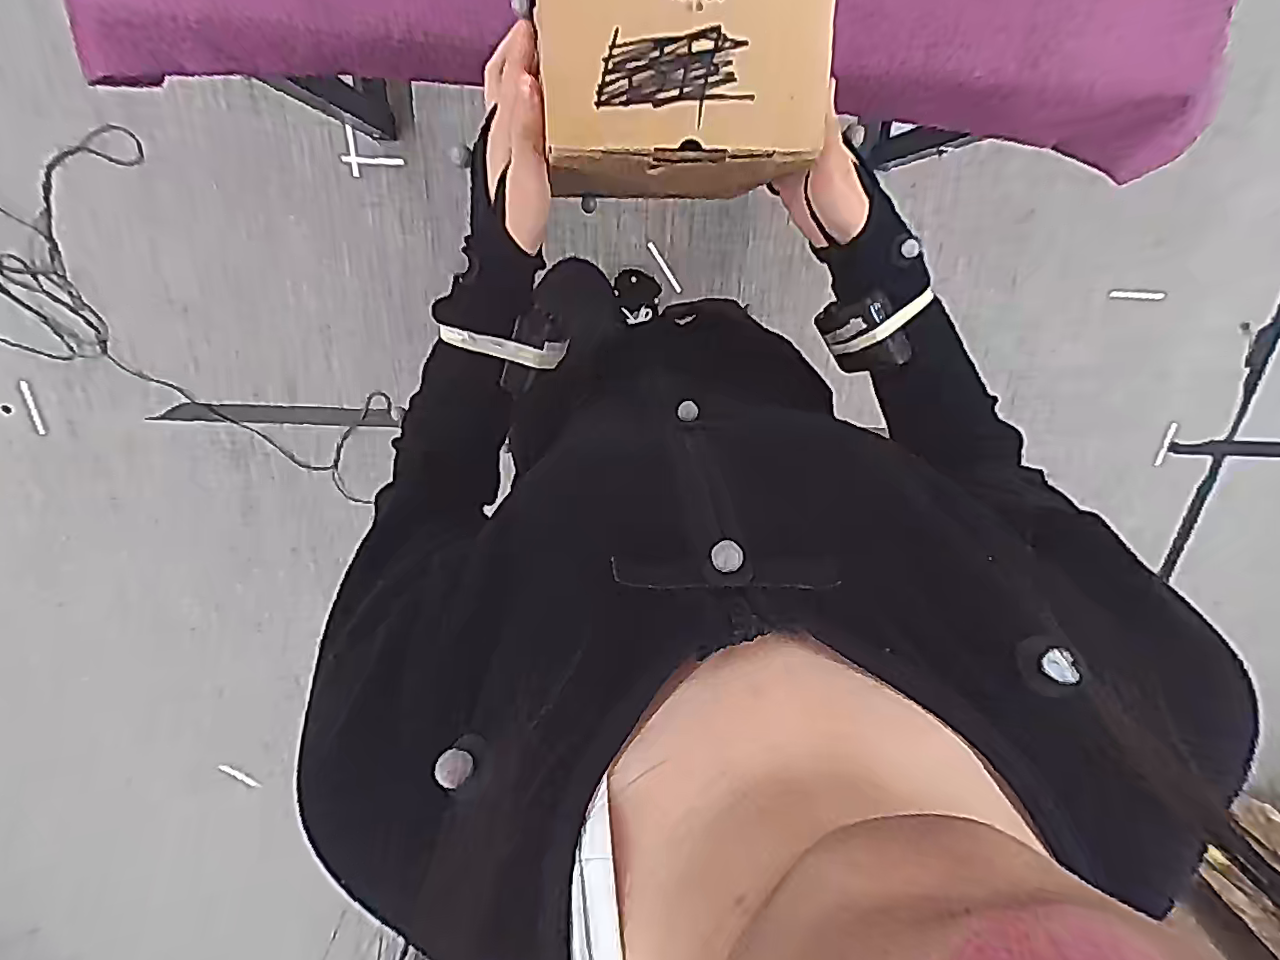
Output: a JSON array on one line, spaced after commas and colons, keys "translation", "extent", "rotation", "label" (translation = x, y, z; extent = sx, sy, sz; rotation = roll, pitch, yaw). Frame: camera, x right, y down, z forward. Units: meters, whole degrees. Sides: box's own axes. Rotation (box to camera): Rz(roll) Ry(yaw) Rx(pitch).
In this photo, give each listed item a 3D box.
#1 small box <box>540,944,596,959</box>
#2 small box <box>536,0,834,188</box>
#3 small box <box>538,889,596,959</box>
[{"translation": [-0.212, 1.490, 1.564], "extent": [0.168, 0.176, 0.179], "rotation": [0, 111, -4], "label": "small box"}, {"translation": [0.016, -0.303, 0.358], "extent": [0.168, 0.176, 0.179], "rotation": [-4, 109, -8], "label": "small box"}, {"translation": [-0.227, 1.438, 1.717], "extent": [0.179, 0.176, 0.168], "rotation": [0, 111, -3], "label": "small box"}]
